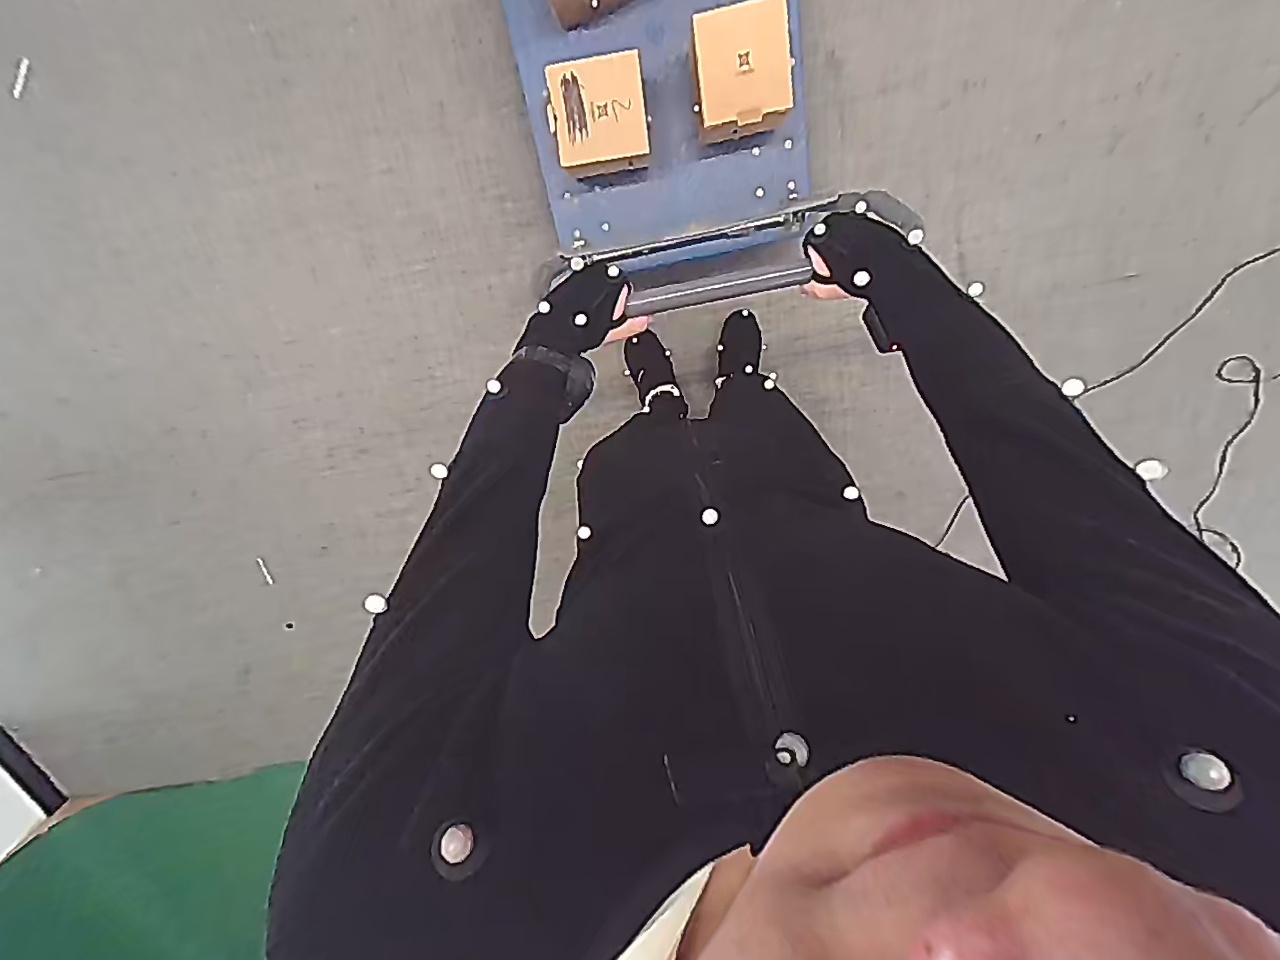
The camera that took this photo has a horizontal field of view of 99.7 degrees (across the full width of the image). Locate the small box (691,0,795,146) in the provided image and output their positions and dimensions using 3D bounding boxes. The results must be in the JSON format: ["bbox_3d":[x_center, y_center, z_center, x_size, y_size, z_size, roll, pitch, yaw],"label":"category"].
[{"bbox_3d":[0.194,-0.777,1.050,0.168,0.176,0.179,-9,113,6],"label":"small box"}]

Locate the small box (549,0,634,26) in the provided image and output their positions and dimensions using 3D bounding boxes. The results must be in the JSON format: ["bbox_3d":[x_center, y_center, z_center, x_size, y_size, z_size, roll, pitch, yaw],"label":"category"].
[{"bbox_3d":[-0.106,-0.969,0.977,0.168,0.176,0.179,-17,111,8],"label":"small box"}]
